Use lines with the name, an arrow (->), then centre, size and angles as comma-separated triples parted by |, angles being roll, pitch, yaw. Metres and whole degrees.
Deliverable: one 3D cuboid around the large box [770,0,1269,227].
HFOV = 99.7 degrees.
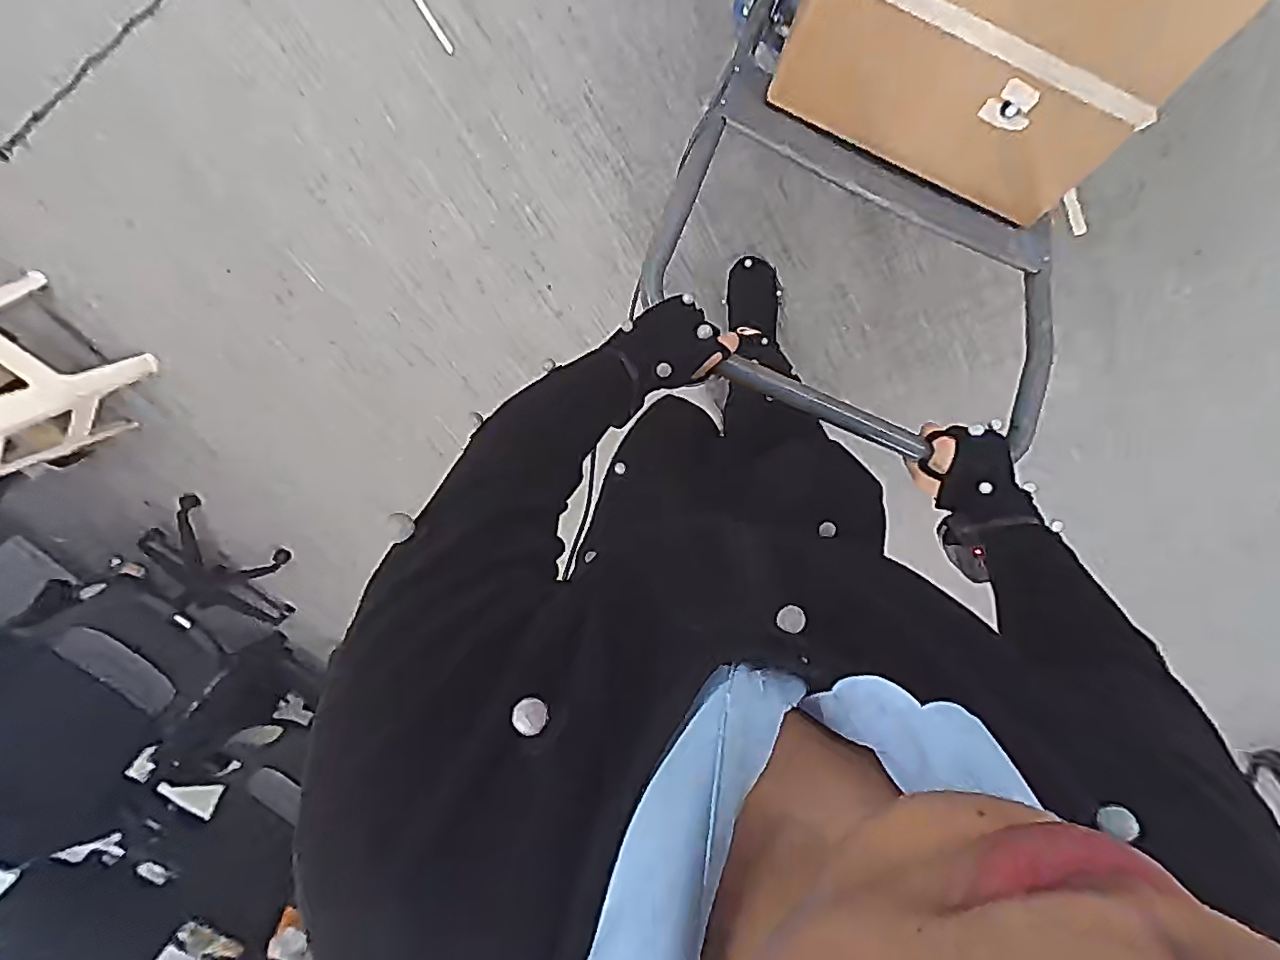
large box -> 0.427, -0.605, 0.666 | 0.408, 0.320, 0.320 | 22, 151, -6
